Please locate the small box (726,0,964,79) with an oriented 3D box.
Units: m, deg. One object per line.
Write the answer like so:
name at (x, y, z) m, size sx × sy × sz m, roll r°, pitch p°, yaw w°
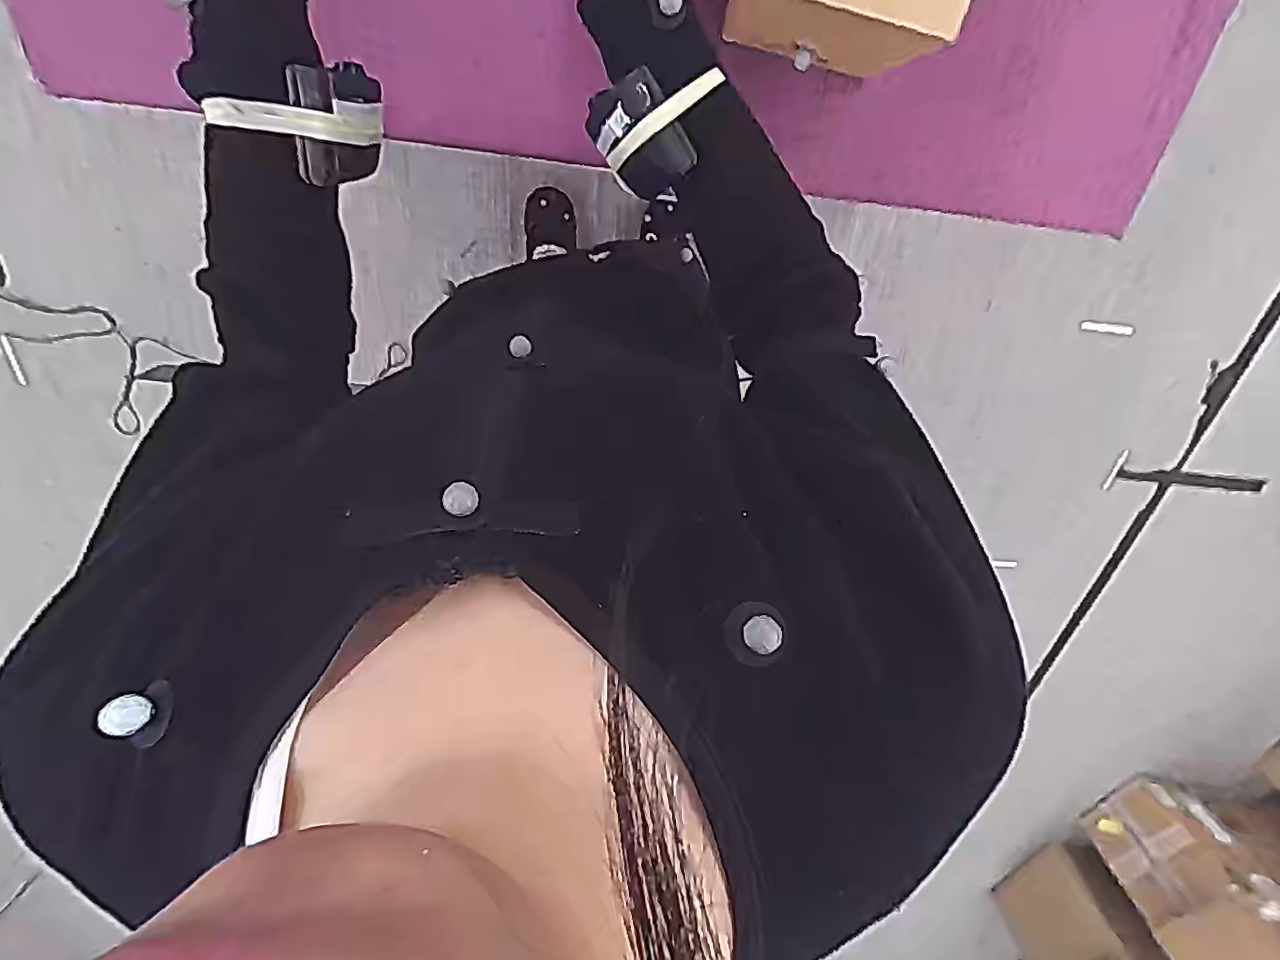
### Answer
small box at (0.182, -0.474, 0.455) m, size 0.168 × 0.176 × 0.179 m, roll 10°, pitch 118°, yaw -8°
